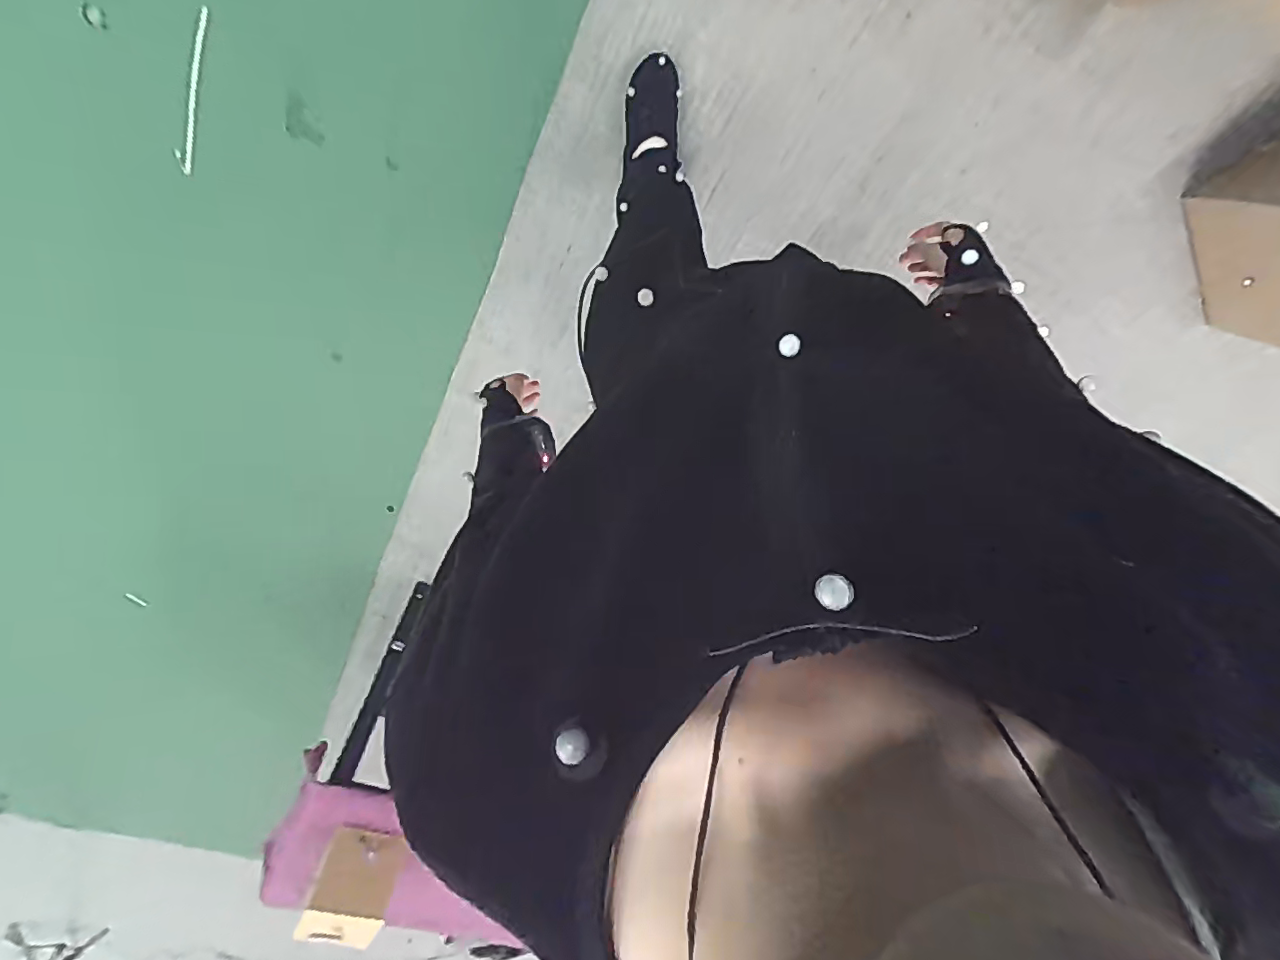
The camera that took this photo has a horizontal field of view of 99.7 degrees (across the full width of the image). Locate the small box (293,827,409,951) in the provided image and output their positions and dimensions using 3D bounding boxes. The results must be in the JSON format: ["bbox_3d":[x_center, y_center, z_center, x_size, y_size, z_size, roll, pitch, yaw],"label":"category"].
[{"bbox_3d":[-0.655,0.938,1.242,0.168,0.176,0.179,24,119,-17],"label":"small box"}]
